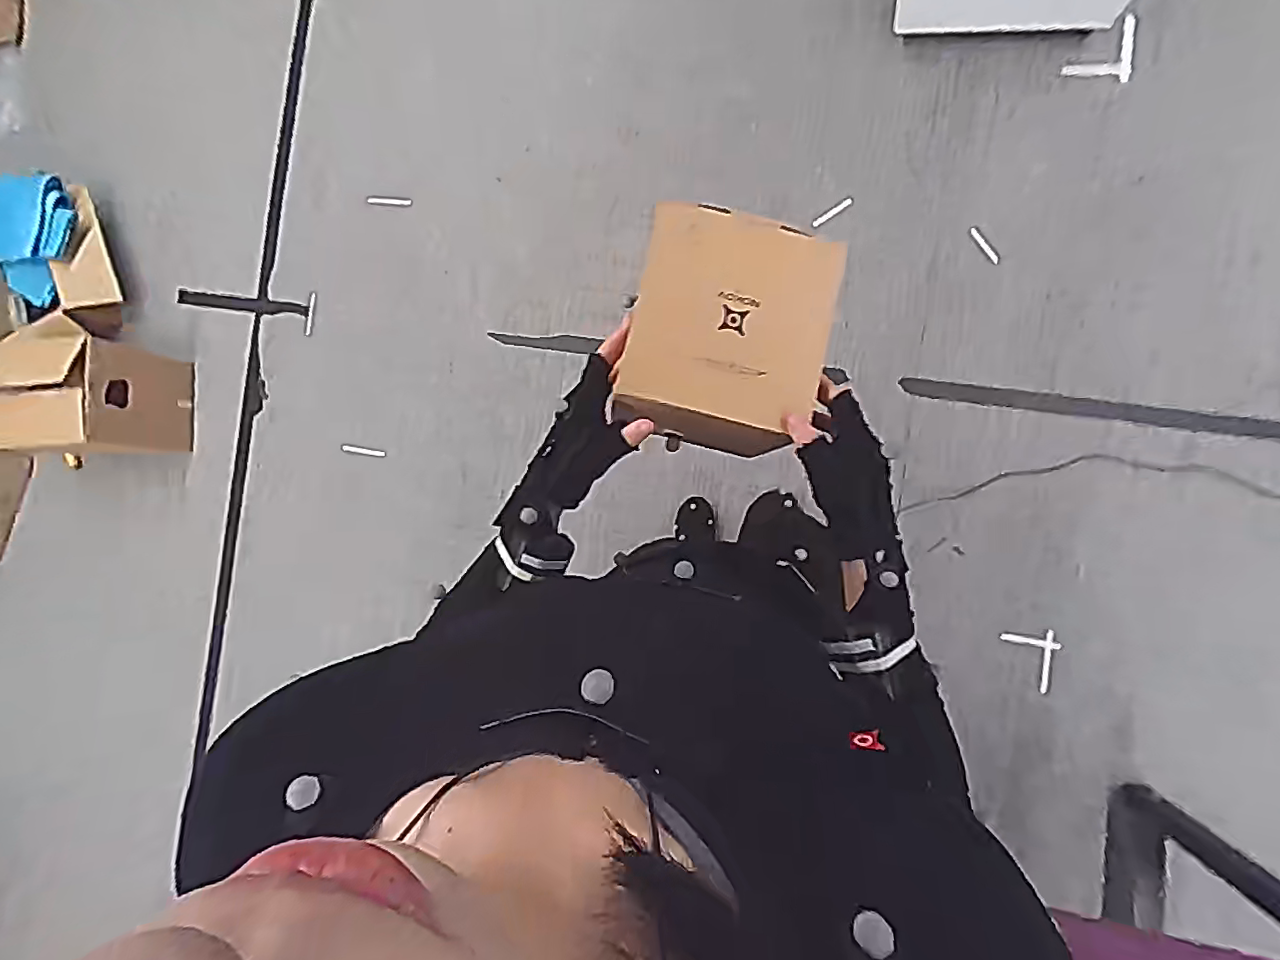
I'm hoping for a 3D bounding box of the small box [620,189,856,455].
[{"bbox_3d":[0.079,-0.134,0.525,0.168,0.176,0.179,15,86,-3],"label":"small box"}]
